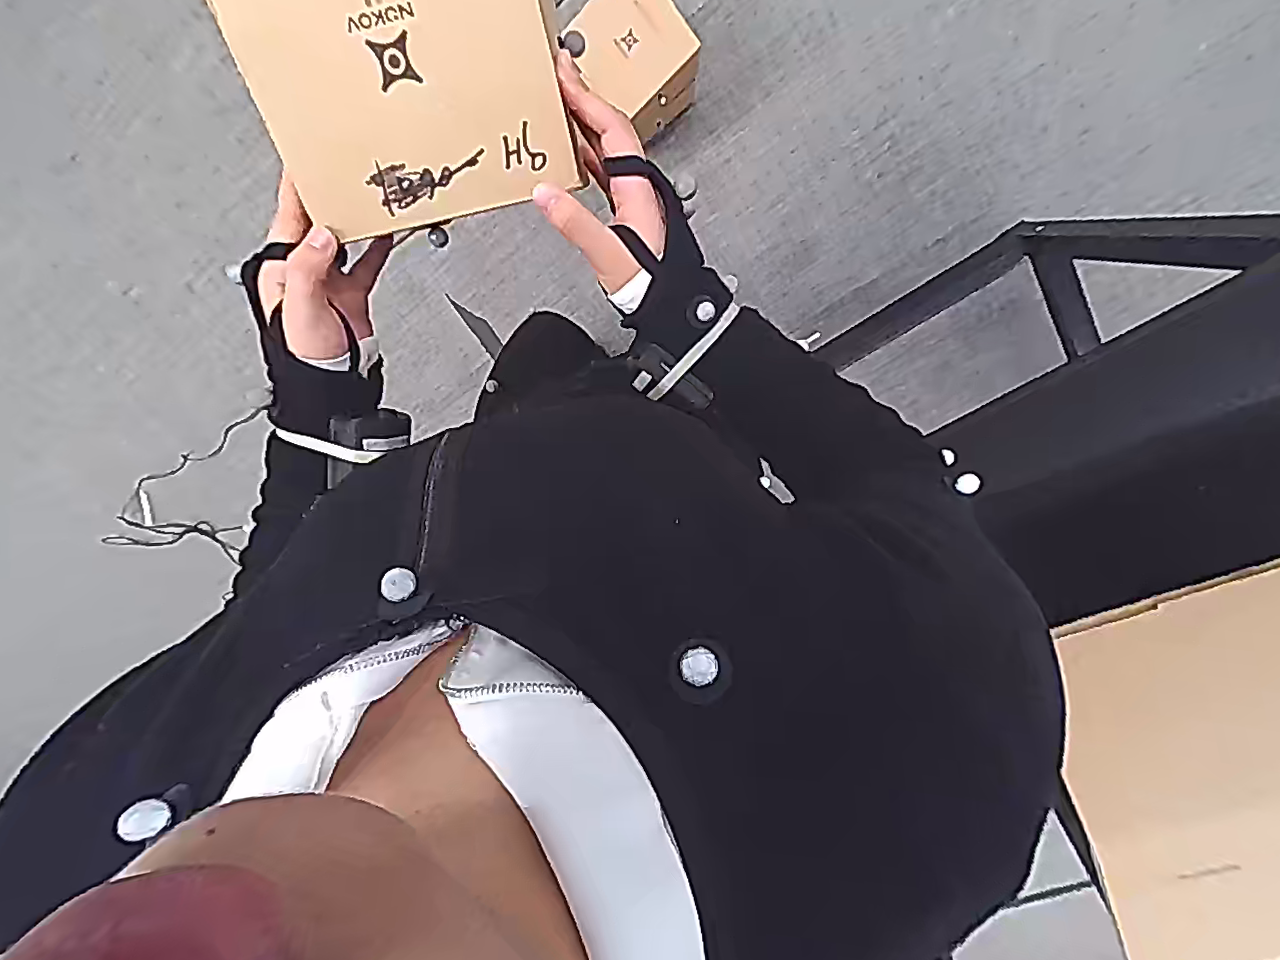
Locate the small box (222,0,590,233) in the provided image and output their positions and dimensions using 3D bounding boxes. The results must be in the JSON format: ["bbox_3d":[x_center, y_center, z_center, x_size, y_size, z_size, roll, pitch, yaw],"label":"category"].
[{"bbox_3d":[-0.132,-0.275,0.353,0.168,0.176,0.179,-11,119,4],"label":"small box"}]

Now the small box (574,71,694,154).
[{"bbox_3d":[-0.007,-0.802,1.100,0.179,0.176,0.168,-34,107,19],"label":"small box"}]

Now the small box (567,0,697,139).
[{"bbox_3d":[-0.016,-0.740,0.950,0.179,0.176,0.168,-38,107,17],"label":"small box"}]
